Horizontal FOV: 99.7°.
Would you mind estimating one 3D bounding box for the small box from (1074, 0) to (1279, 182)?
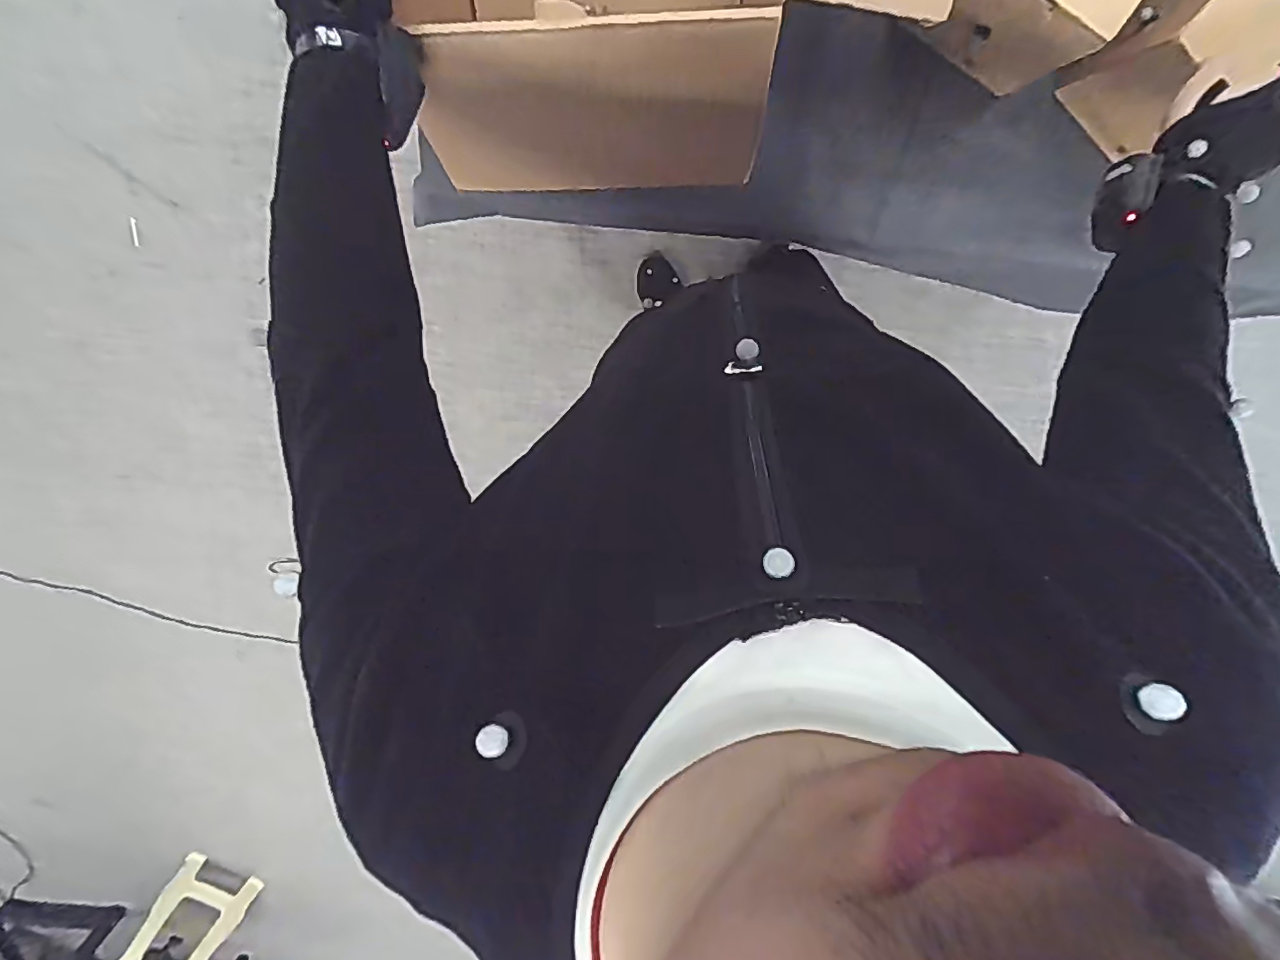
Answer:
[{"bbox_3d":[0.598,-0.435,0.547,0.168,0.176,0.179,36,109,-12],"label":"small box"}]
